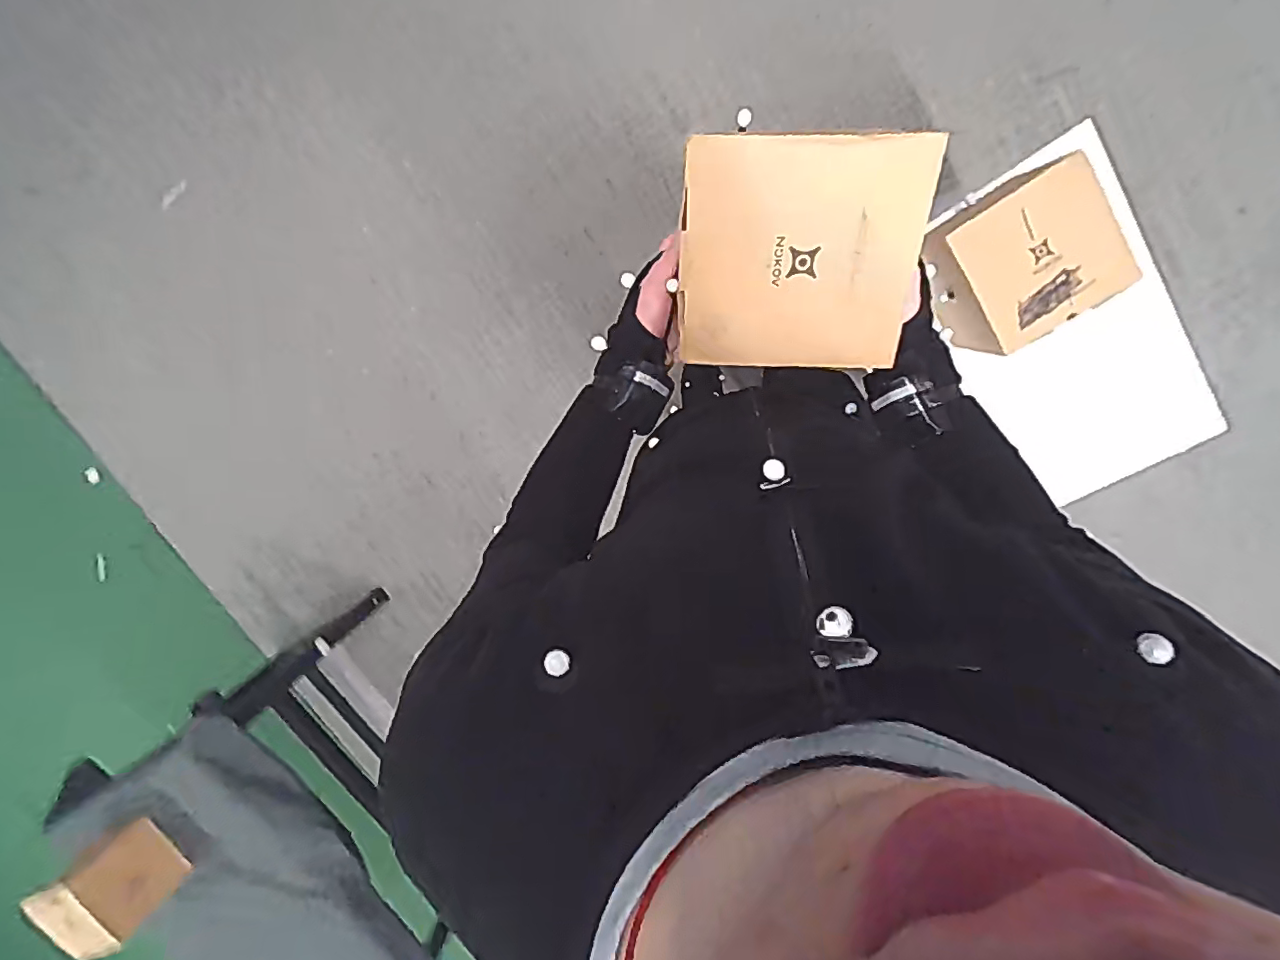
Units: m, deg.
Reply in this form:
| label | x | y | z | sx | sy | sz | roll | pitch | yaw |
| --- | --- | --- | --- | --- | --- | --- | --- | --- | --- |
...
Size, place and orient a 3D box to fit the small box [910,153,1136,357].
| label | x | y | z | sx | sy | sz | roll | pitch | yaw |
| --- | --- | --- | --- | --- | --- | --- | --- | --- | --- |
| small box | 0.490 | -0.290 | 0.725 | 0.168 | 0.176 | 0.179 | -31 | 101 | 16 |

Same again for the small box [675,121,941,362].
| label | x | y | z | sx | sy | sz | roll | pitch | yaw |
| --- | --- | --- | --- | --- | --- | --- | --- | --- | --- |
| small box | 0.122 | -0.211 | 0.472 | 0.179 | 0.176 | 0.168 | 1 | 124 | 6 |

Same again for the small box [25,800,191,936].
| label | x | y | z | sx | sy | sz | roll | pitch | yaw |
| --- | --- | --- | --- | --- | --- | --- | --- | --- | --- |
| small box | -1.185 | 0.870 | 1.221 | 0.168 | 0.176 | 0.179 | -25 | 104 | 15 |
